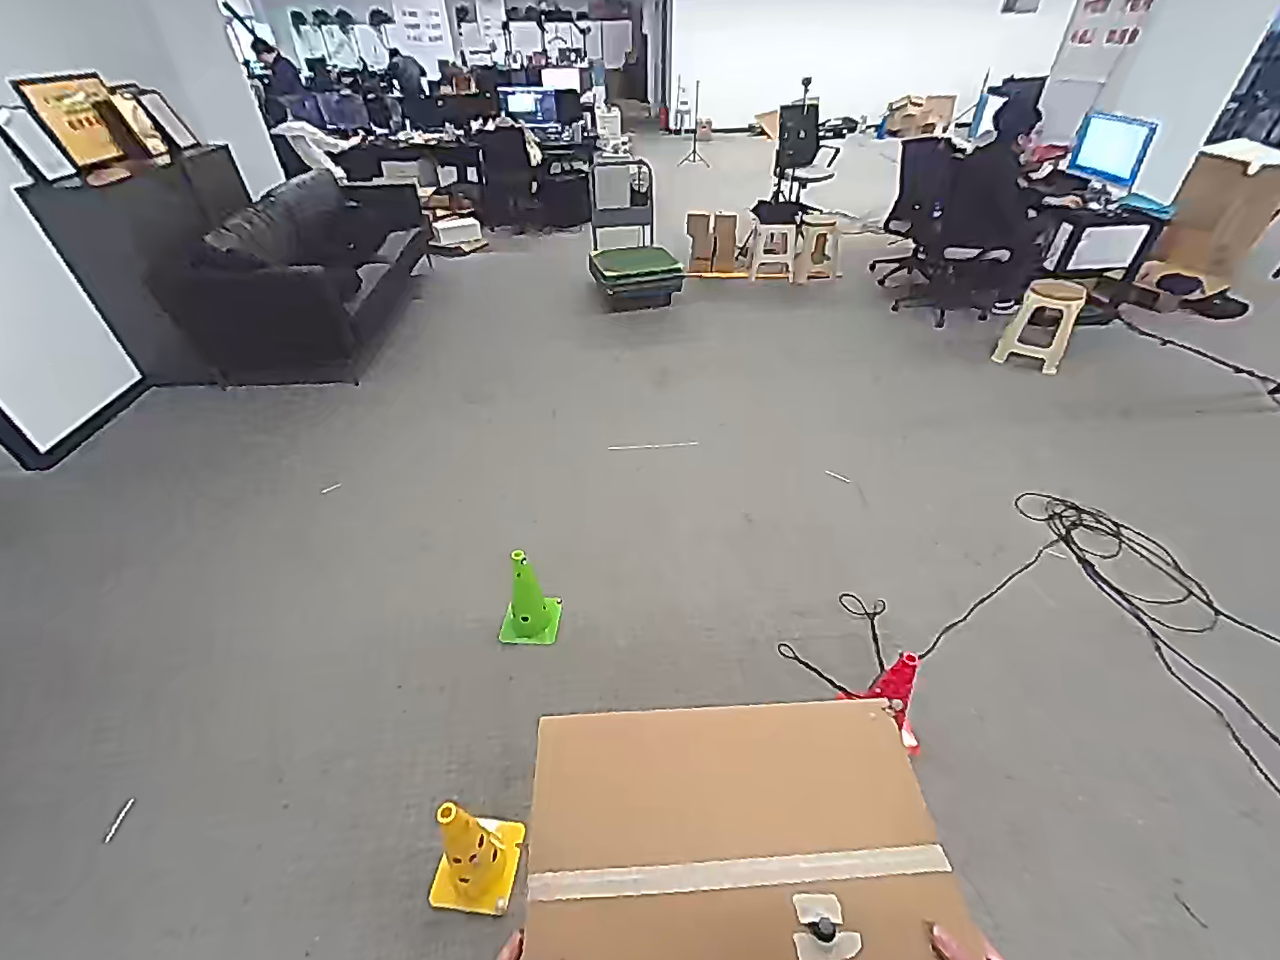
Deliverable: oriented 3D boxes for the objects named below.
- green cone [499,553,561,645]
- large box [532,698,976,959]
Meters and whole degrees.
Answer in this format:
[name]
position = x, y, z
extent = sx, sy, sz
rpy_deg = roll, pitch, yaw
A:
[green cone]
position = -0.403, 0.381, 1.858
extent = 0.200, 0.368, 0.202
rpy_deg = 1, 41, 3
[large box]
position = 0.095, 0.482, 0.633
extent = 0.408, 0.320, 0.320
rpy_deg = -2, 47, -3
